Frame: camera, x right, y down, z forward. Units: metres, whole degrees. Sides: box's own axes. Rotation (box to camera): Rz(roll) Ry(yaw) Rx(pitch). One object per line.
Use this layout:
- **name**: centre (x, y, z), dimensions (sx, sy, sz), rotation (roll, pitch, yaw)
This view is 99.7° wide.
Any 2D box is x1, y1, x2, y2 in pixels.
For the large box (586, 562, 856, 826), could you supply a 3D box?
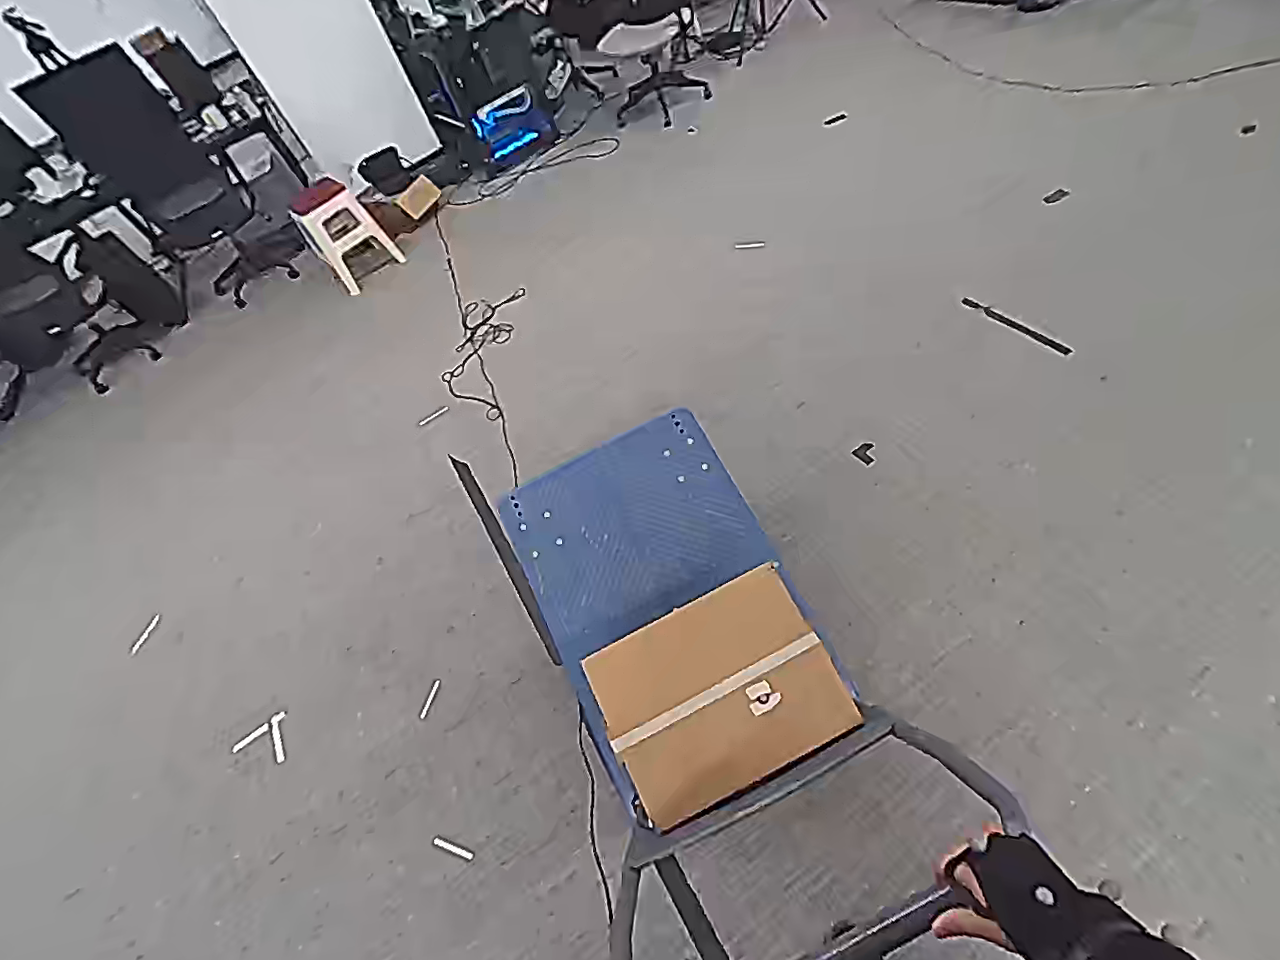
- **large box**: centre (0.152, 0.422, 1.121), dimensions (0.408, 0.320, 0.320), rotation (-28, 73, -4)
